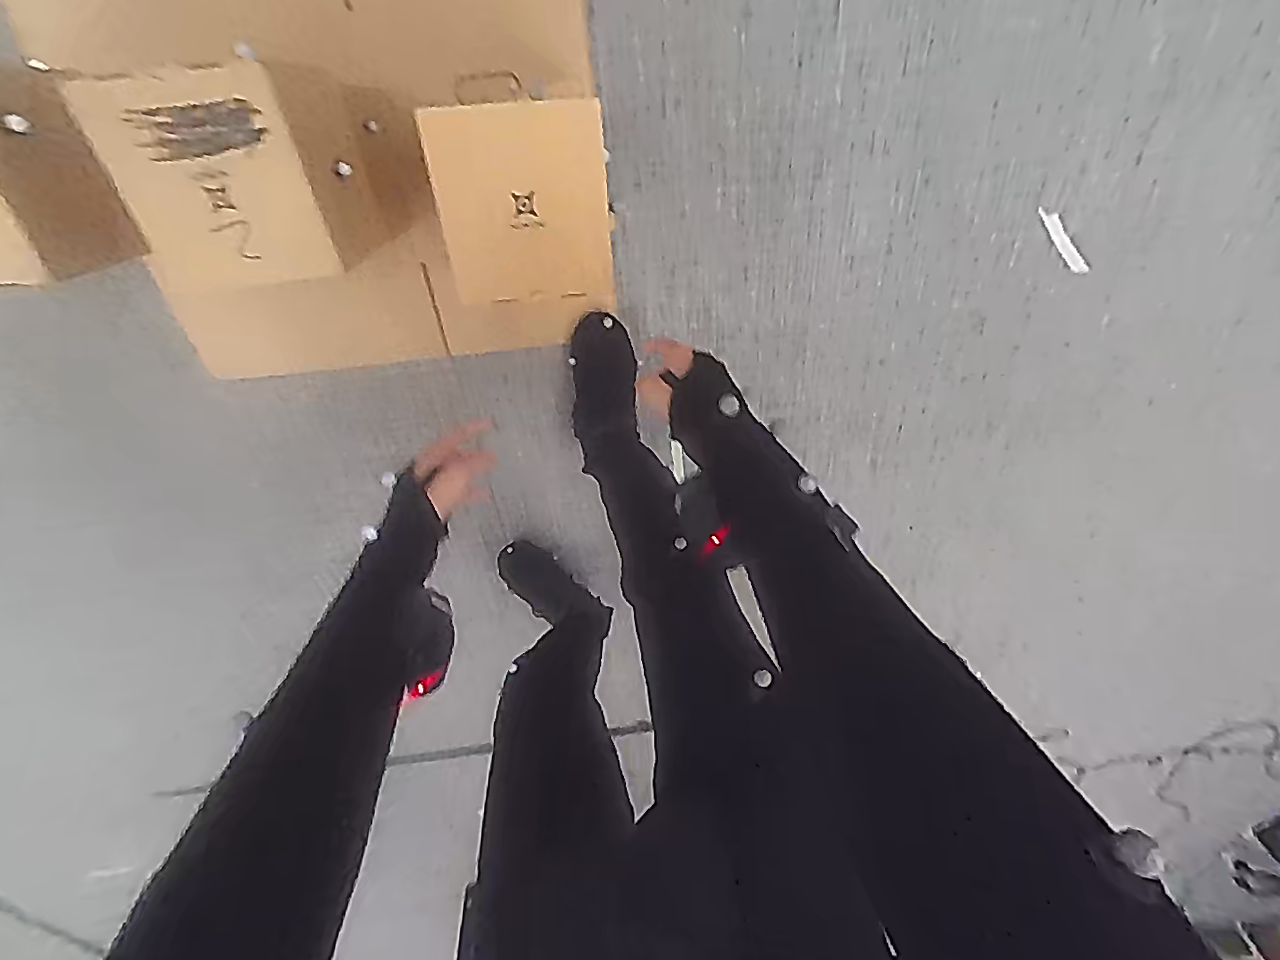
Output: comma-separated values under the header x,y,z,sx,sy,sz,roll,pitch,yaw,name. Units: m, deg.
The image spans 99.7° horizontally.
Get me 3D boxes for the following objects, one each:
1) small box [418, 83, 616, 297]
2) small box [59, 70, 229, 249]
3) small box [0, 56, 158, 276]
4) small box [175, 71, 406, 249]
x,y,z,sx,sy,sz,roll,pitch,yaw,name
-0.119,-0.314,0.585,0.168,0.176,0.179,-6,125,-3,small box
-0.648,-0.394,0.668,0.168,0.176,0.179,-4,125,-3,small box
-0.644,-0.307,0.527,0.168,0.176,0.179,-3,124,-3,small box
-0.418,-0.404,0.687,0.168,0.176,0.179,-3,124,-4,small box
